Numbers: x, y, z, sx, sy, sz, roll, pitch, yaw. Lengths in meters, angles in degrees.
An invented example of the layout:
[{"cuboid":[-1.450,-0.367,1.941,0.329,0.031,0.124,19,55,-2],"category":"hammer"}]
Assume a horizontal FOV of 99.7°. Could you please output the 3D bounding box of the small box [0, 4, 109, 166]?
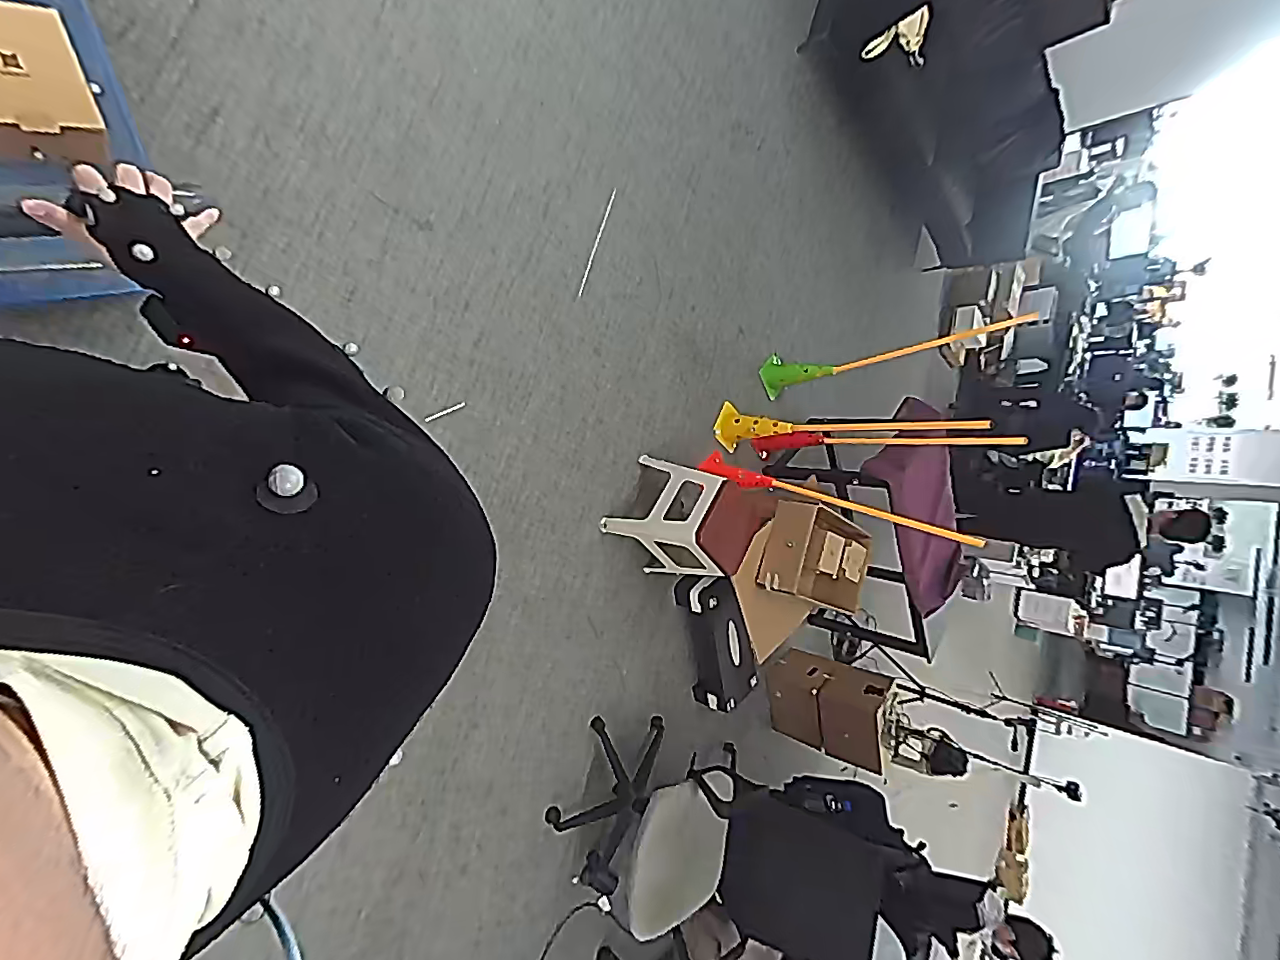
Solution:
[{"cuboid":[-1.030,-0.649,0.898,0.168,0.176,0.179,-26,113,-39],"category":"small box"}]
